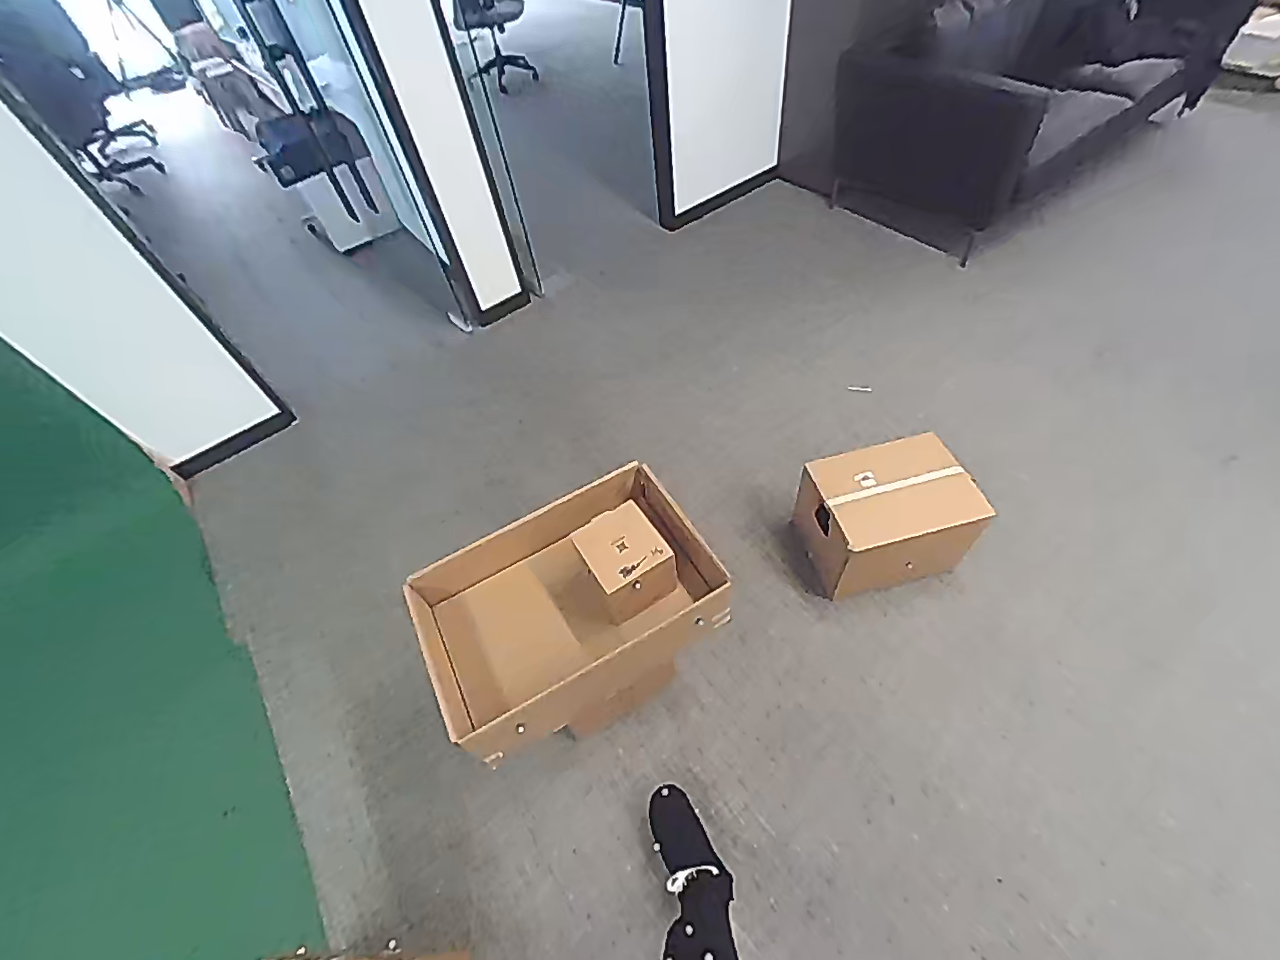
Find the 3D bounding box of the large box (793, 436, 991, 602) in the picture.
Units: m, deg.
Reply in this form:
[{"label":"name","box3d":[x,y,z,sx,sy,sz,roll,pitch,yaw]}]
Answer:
[{"label":"large box","box3d":[0.718,0.121,1.614,0.408,0.320,0.320,-14,52,-3]}]

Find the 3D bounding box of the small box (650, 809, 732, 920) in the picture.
[{"label":"small box","box3d":[0.120,0.861,1.230,0.168,0.176,0.179,2,63,10]}]
